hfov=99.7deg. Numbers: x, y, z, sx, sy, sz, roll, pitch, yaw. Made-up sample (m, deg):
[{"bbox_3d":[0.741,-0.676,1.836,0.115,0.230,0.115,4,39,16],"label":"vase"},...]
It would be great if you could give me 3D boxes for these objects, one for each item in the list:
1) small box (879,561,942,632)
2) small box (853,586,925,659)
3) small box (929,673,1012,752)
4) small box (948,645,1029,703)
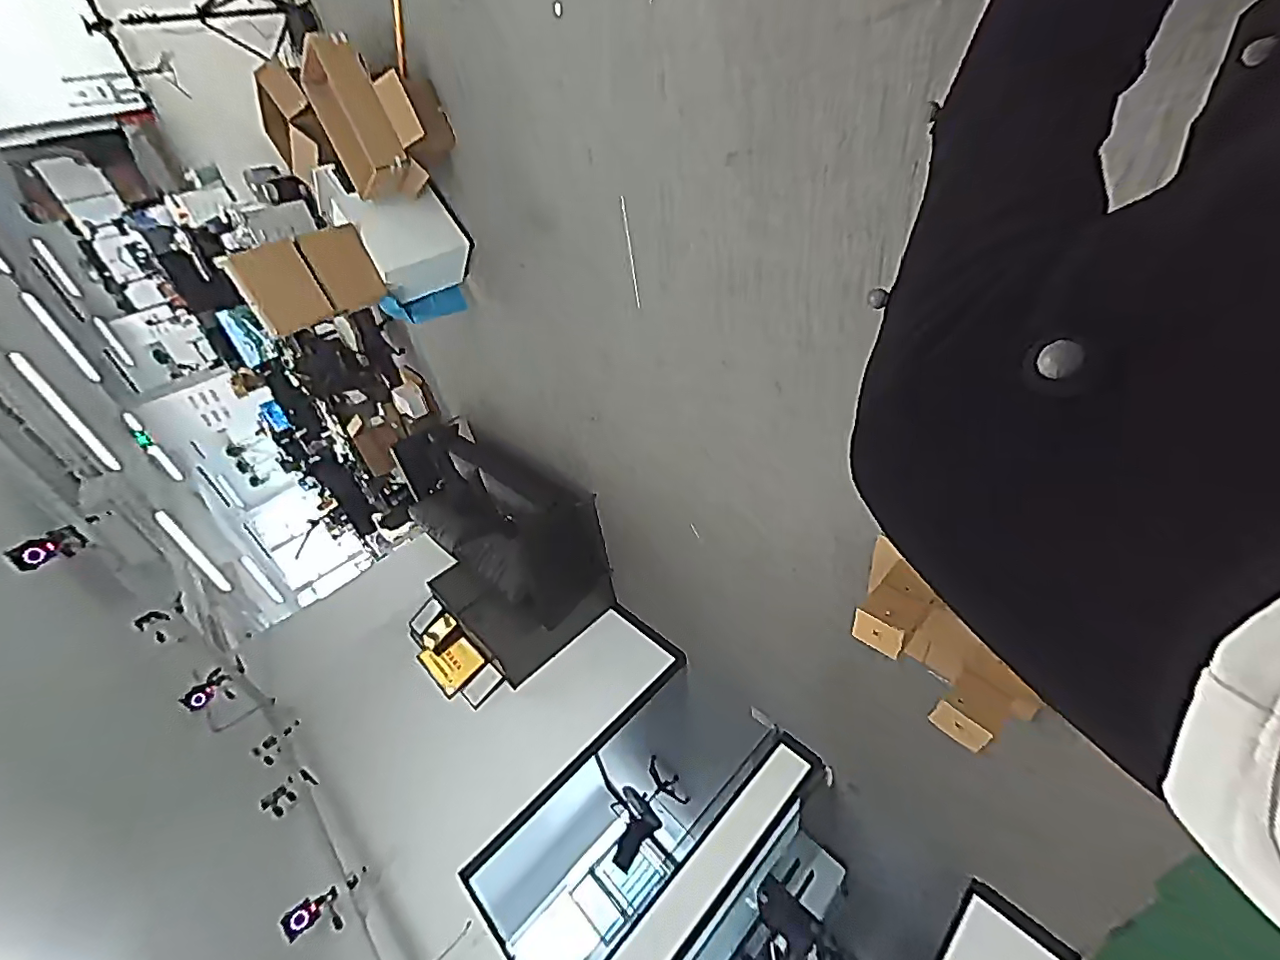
[{"bbox_3d":[1.037,0.444,2.092,0.179,0.176,0.168,29,141,37],"label":"small box"},{"bbox_3d":[0.922,0.520,2.007,0.179,0.176,0.168,27,139,37],"label":"small box"},{"bbox_3d":[1.178,0.821,1.930,0.179,0.176,0.168,34,145,32],"label":"small box"},{"bbox_3d":[1.299,0.744,2.014,0.179,0.176,0.168,35,145,32],"label":"small box"}]
